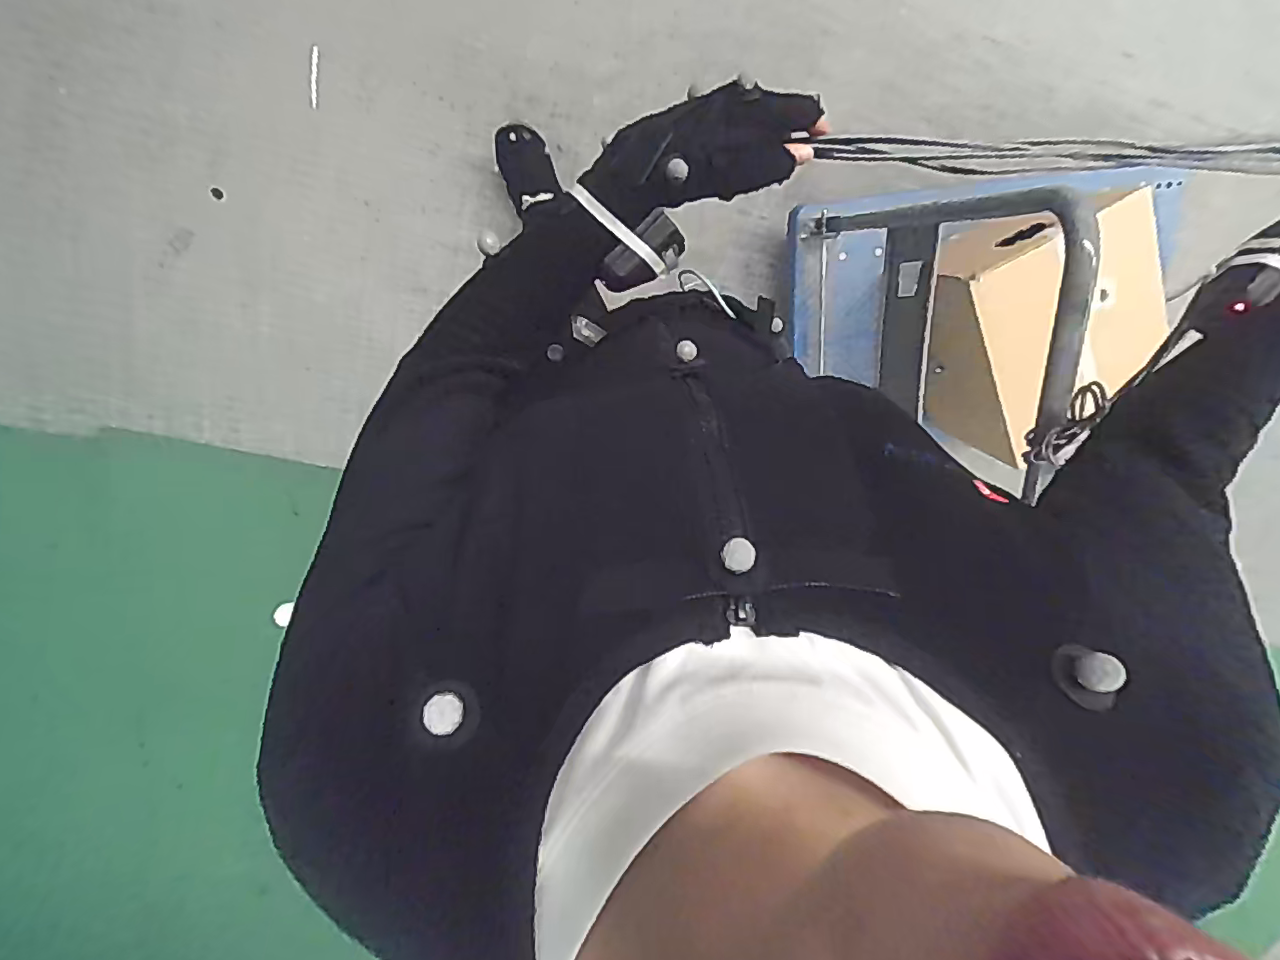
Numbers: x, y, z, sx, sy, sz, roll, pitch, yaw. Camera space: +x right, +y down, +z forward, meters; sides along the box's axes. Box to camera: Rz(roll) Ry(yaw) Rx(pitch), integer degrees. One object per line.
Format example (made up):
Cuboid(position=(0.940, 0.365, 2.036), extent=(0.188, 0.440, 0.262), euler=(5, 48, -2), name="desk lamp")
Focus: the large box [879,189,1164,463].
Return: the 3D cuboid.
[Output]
Cuboid(position=(0.768, -0.312, 1.125), extent=(0.320, 0.320, 0.408), euler=(-29, 110, 6), name="large box")
